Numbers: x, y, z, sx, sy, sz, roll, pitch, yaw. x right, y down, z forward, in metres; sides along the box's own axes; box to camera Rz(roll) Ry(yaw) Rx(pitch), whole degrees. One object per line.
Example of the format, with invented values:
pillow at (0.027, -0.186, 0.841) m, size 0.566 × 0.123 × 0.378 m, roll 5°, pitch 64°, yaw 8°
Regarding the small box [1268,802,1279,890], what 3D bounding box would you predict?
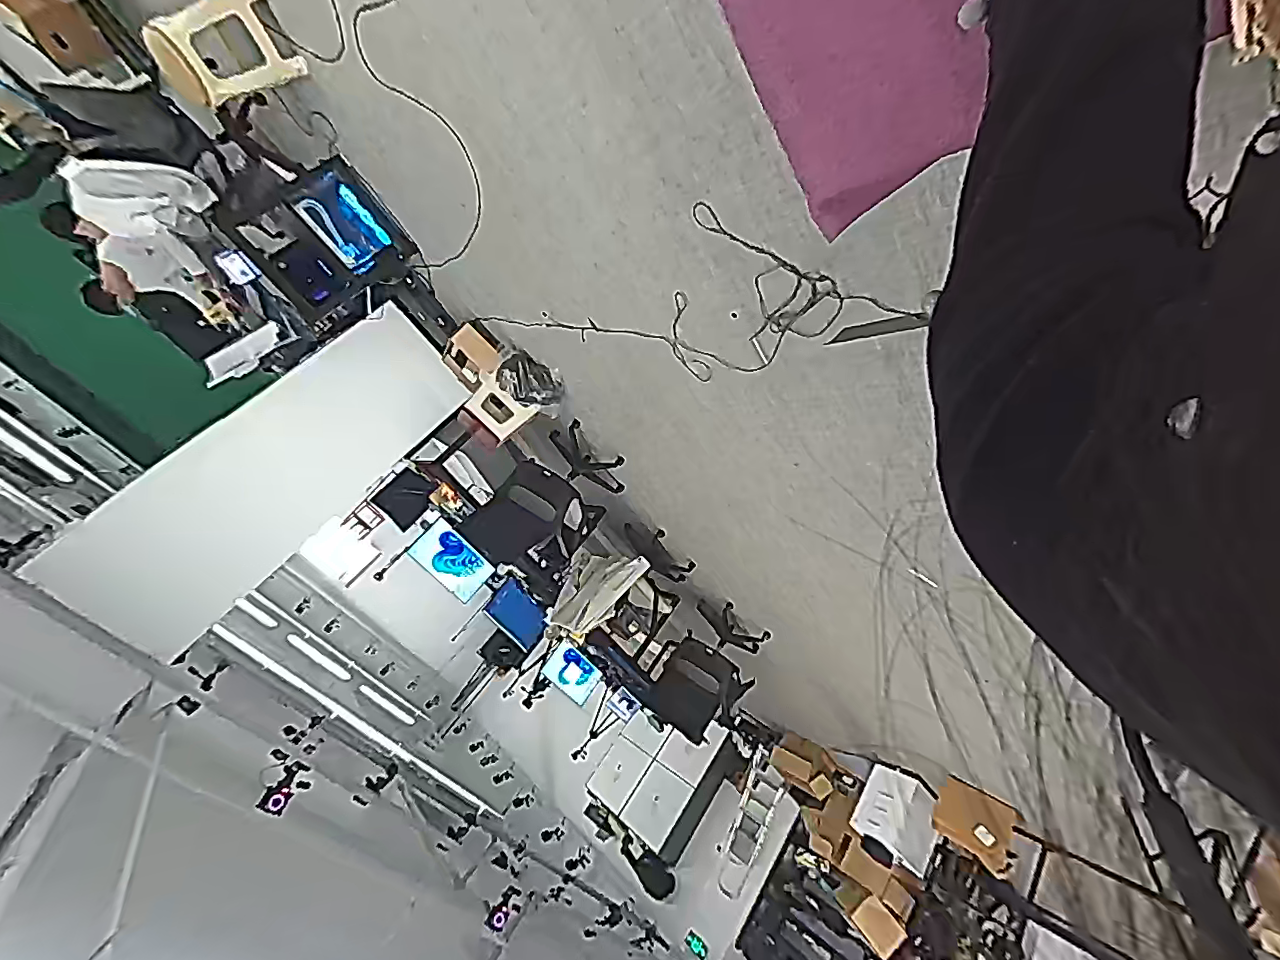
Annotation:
small box at (1.709, 0.951, 1.352) m, size 0.168 × 0.176 × 0.179 m, roll 7°, pitch 139°, yaw 52°
